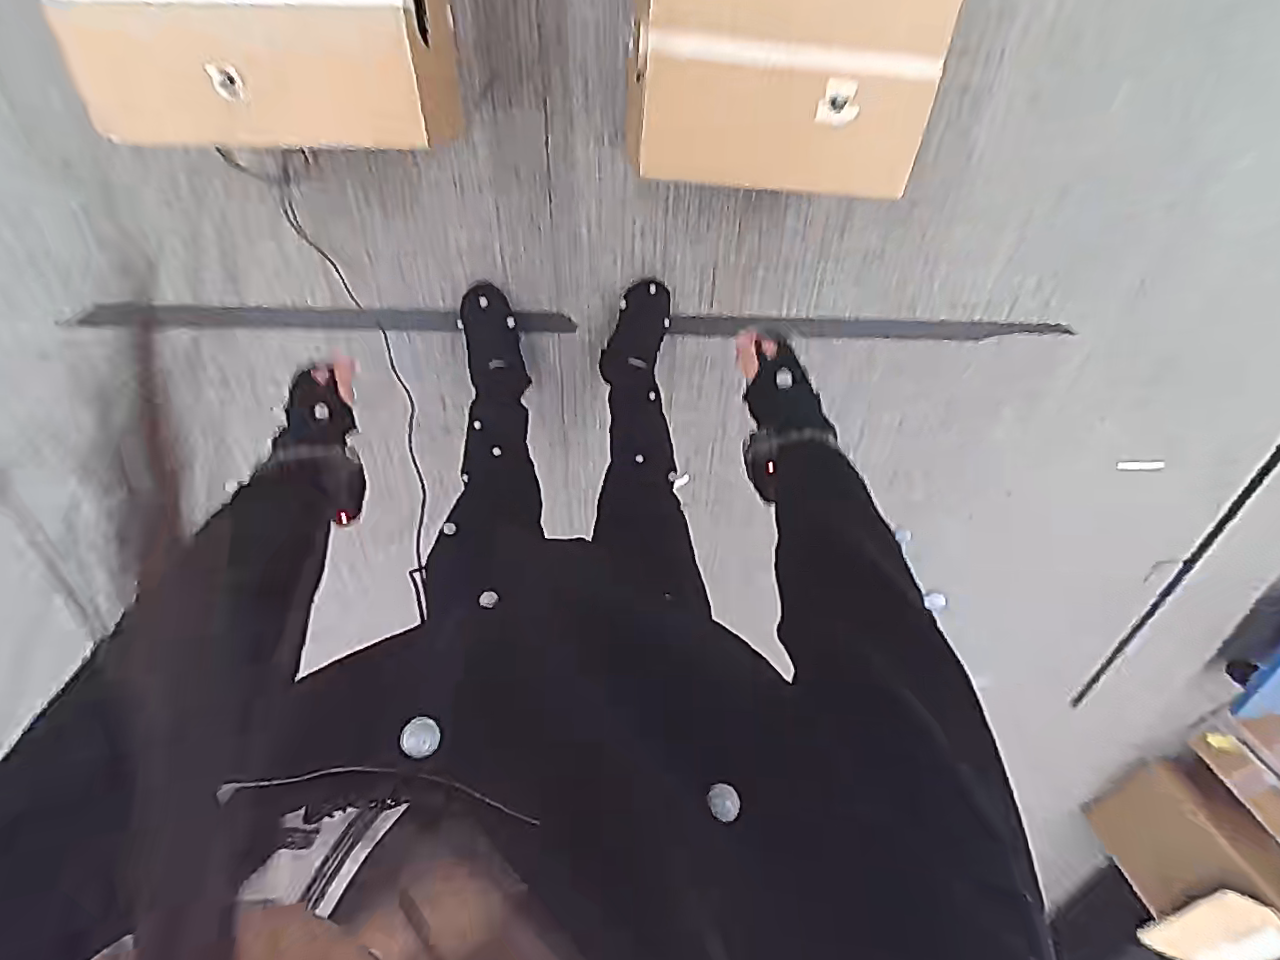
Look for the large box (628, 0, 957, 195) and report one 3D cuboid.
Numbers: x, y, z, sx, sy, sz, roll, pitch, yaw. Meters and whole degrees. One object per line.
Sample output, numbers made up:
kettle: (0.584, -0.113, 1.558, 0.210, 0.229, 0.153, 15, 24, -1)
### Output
large box: (0.196, -0.647, 0.849, 0.408, 0.320, 0.320, 1, 124, -8)
